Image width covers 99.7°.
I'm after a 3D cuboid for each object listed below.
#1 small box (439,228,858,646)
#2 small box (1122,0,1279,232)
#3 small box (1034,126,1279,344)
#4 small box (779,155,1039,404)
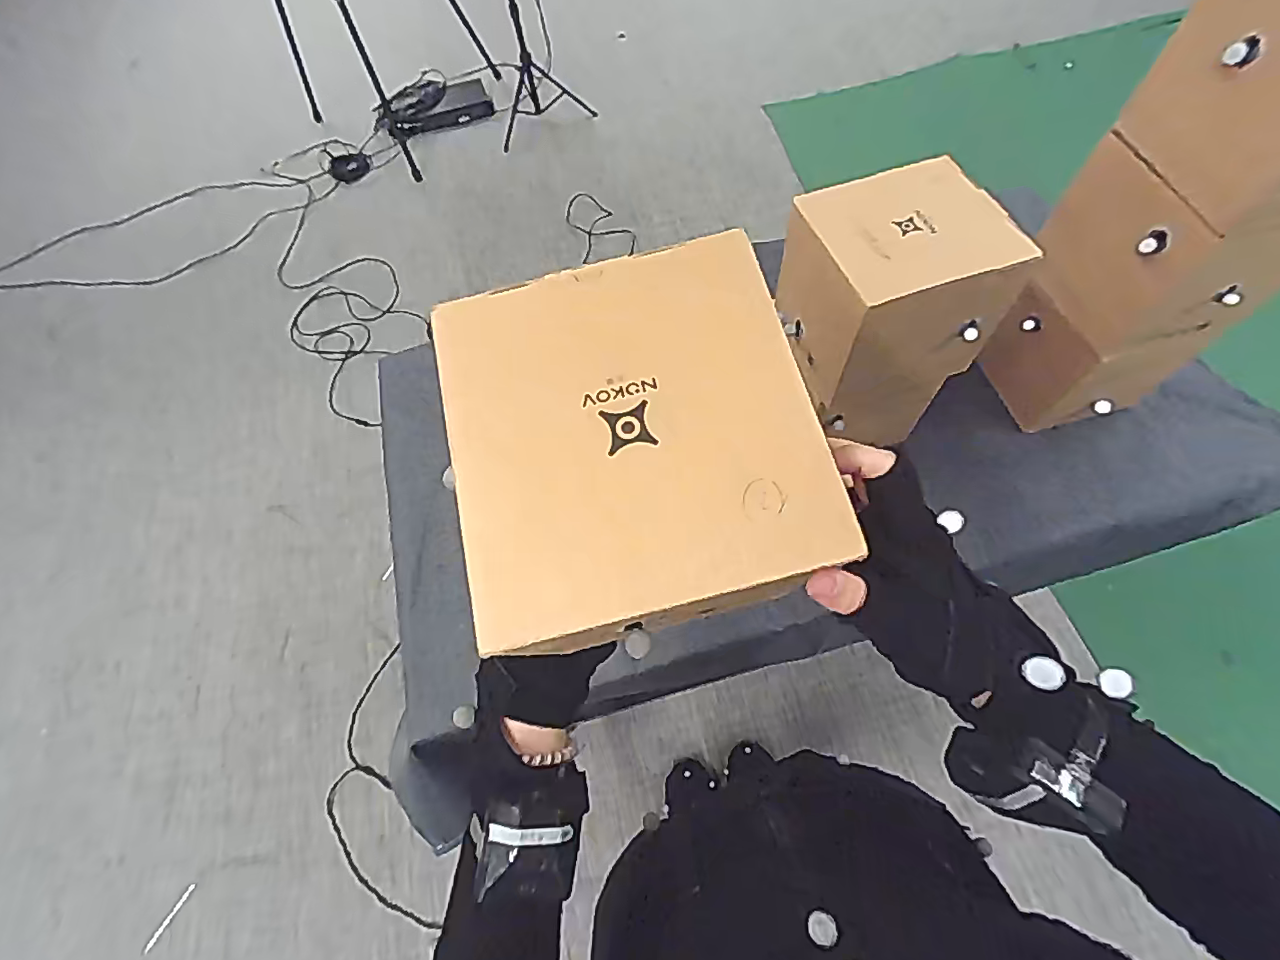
[{"bbox_3d":[0.001,-0.006,0.326,0.168,0.176,0.179,-14,71,0],"label":"small box"},{"bbox_3d":[0.570,-0.341,0.446,0.168,0.176,0.179,-11,62,1],"label":"small box"},{"bbox_3d":[0.586,-0.270,0.593,0.168,0.176,0.179,-13,63,0],"label":"small box"},{"bbox_3d":[0.271,-0.211,0.597,0.179,0.176,0.168,-17,62,-2],"label":"small box"}]
